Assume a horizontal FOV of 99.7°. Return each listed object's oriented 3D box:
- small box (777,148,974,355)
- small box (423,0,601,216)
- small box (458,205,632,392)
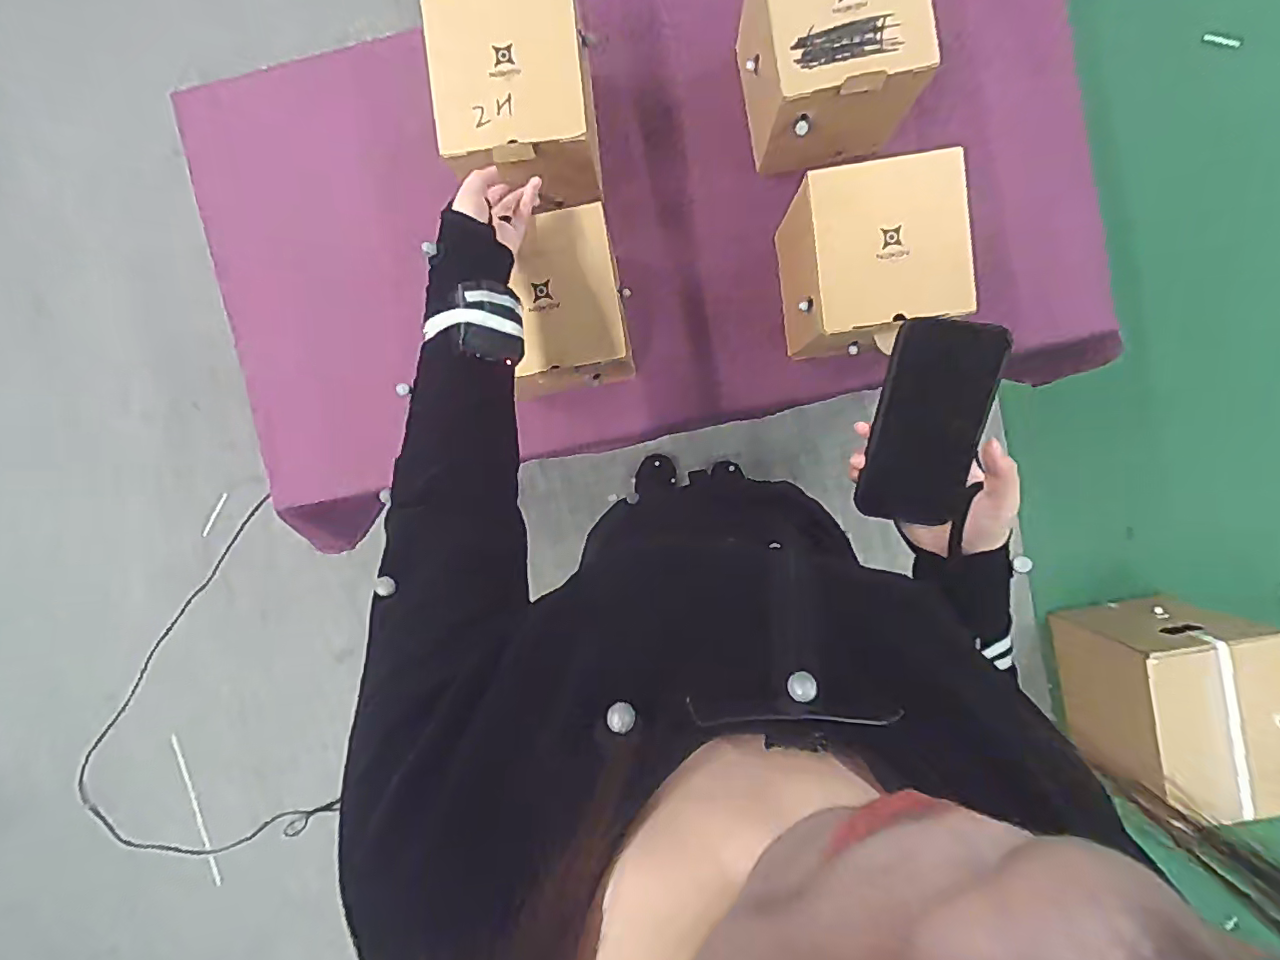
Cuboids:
[{"bbox_3d":[0.270,-0.260,0.656,0.168,0.176,0.179,-7,94,4],"label":"small box"},{"bbox_3d":[-0.144,-0.453,0.663,0.168,0.176,0.179,-5,94,4],"label":"small box"},{"bbox_3d":[-0.106,-0.210,0.680,0.168,0.176,0.179,-9,92,3],"label":"small box"}]
